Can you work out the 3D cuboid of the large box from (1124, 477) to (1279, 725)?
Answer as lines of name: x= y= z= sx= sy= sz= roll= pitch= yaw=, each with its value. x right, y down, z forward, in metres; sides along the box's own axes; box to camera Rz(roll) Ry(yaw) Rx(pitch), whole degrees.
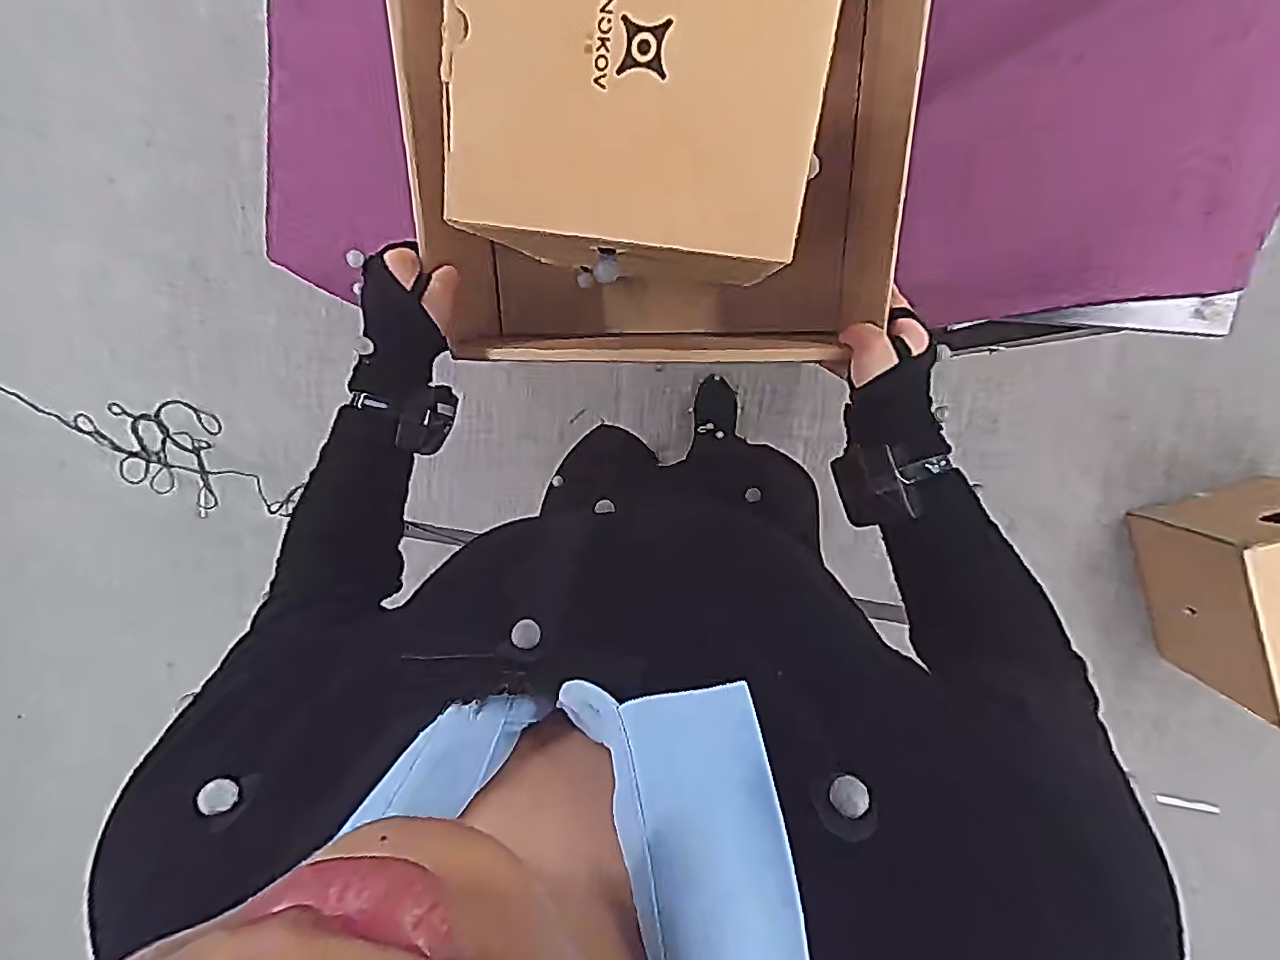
large box: x=1.379 y=0.245 z=1.183 sx=0.320 sy=0.320 sz=0.408 roll=-19 pitch=95 yaw=9
